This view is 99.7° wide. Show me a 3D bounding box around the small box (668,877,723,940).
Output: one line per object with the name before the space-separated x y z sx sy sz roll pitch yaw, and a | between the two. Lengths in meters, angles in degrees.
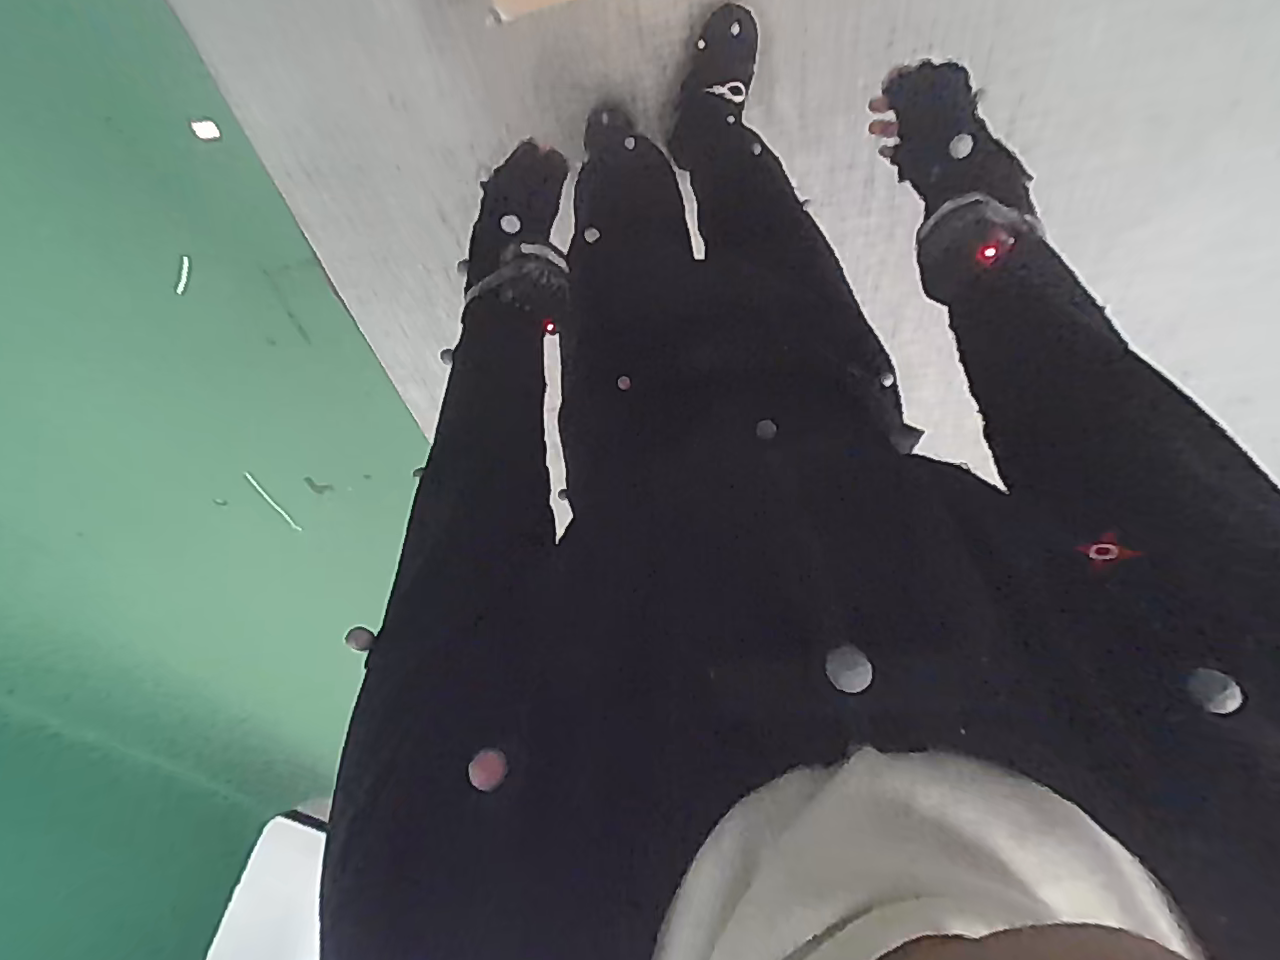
small box | 0.209 1.598 2.019 0.179 0.176 0.168 -10 134 13
